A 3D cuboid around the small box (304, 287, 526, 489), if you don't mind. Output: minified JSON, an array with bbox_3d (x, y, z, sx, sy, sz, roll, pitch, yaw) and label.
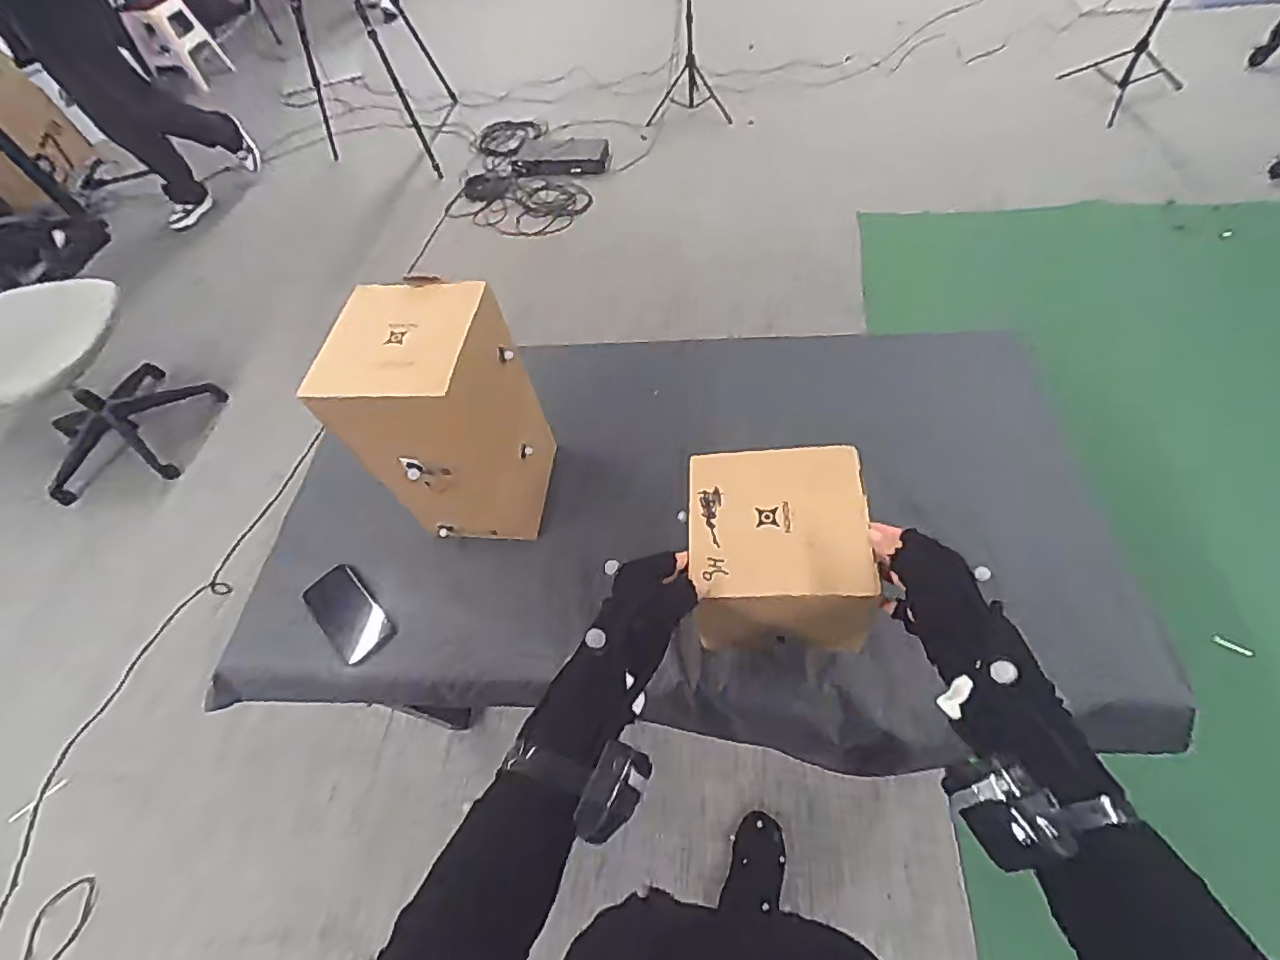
[{"bbox_3d":[-0.249,-0.108,0.653,0.168,0.176,0.179,1,58,9],"label":"small box"}]

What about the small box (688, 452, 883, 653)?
[{"bbox_3d":[0.149,0.086,0.600,0.179,0.176,0.168,-2,56,11],"label":"small box"}]

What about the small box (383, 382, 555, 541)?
[{"bbox_3d":[-0.233,-0.024,0.791,0.168,0.176,0.179,2,57,8],"label":"small box"}]
